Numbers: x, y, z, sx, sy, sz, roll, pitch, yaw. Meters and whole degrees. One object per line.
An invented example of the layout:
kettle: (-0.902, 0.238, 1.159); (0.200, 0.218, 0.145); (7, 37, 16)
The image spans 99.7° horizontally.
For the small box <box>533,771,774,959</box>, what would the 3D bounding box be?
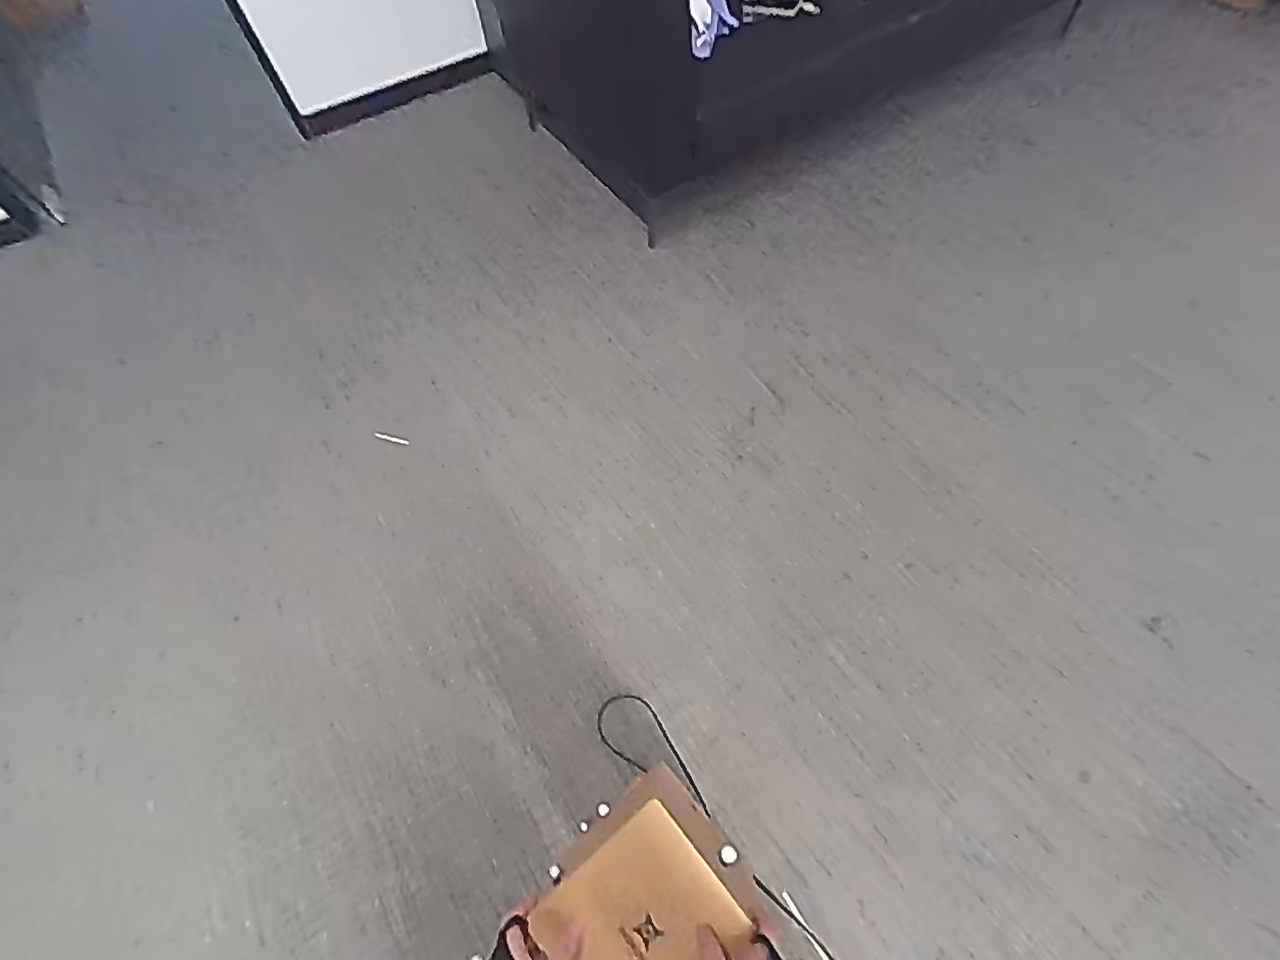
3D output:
small box: (0.018, 0.458, 0.591); (0.179, 0.176, 0.168); (-42, 74, -4)
